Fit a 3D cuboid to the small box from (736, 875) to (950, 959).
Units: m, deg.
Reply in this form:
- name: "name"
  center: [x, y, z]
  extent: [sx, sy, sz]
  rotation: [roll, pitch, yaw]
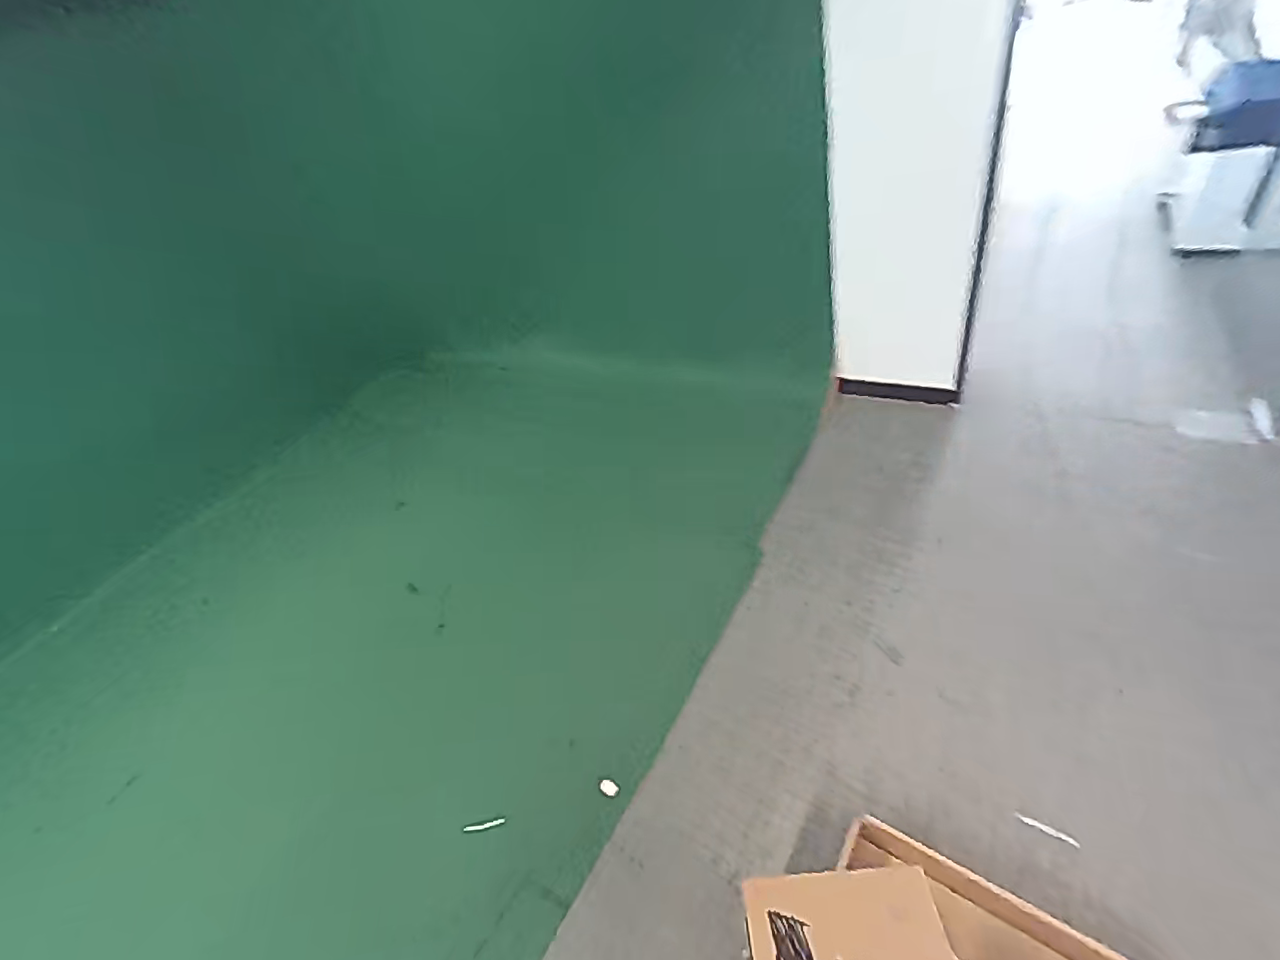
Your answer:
- name: "small box"
  center: [0.194, 0.496, 0.499]
  extent: [0.179, 0.176, 0.168]
  rotation: [-9, 37, 6]
